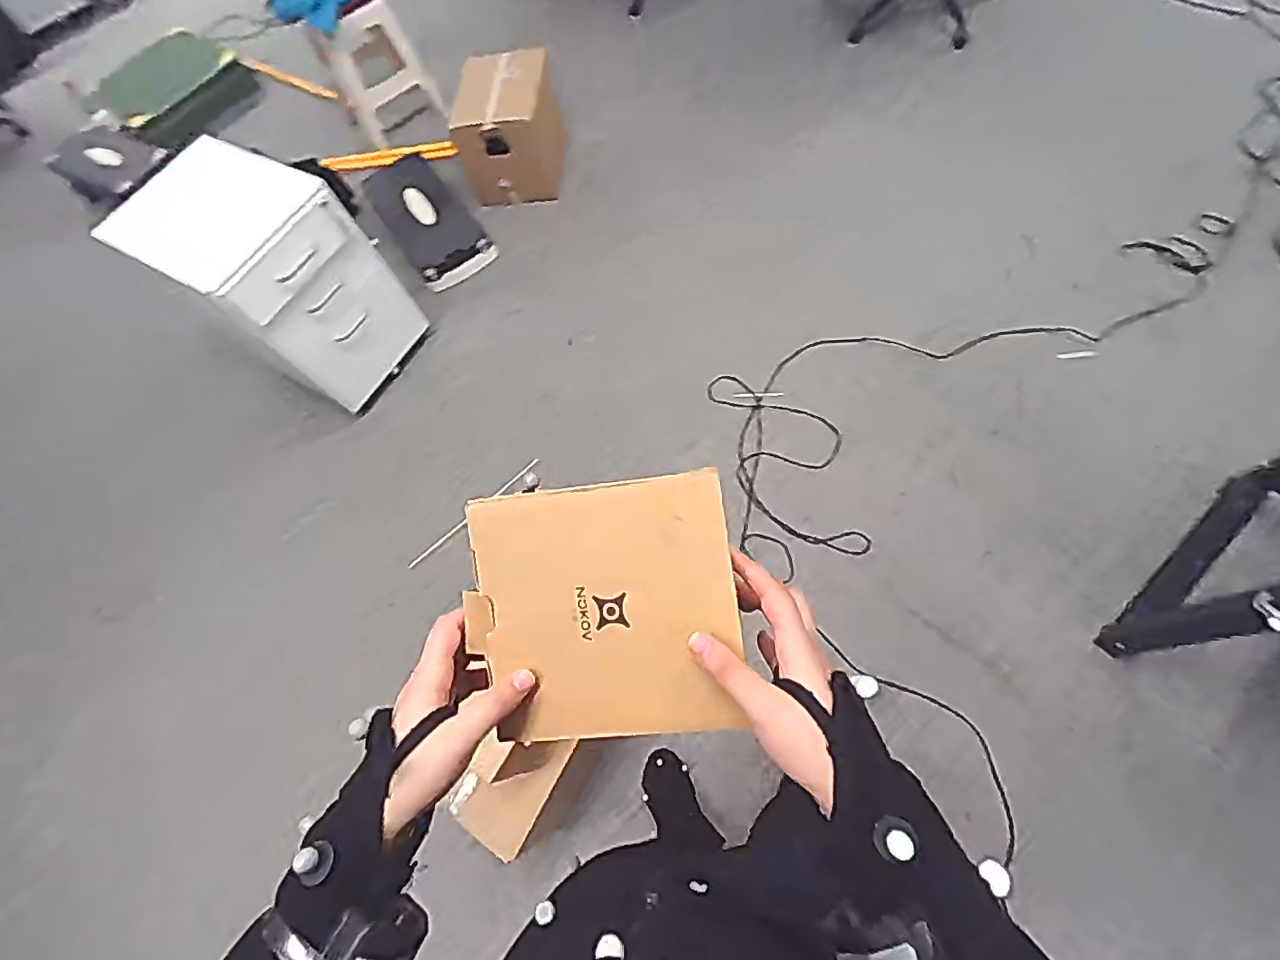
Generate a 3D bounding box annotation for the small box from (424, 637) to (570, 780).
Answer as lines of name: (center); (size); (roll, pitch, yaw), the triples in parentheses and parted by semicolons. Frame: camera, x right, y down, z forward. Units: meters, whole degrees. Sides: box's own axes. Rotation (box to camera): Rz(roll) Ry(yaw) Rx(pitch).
small box: (-0.251, 0.418, 1.000); (0.168, 0.176, 0.179); (26, 73, 18)
